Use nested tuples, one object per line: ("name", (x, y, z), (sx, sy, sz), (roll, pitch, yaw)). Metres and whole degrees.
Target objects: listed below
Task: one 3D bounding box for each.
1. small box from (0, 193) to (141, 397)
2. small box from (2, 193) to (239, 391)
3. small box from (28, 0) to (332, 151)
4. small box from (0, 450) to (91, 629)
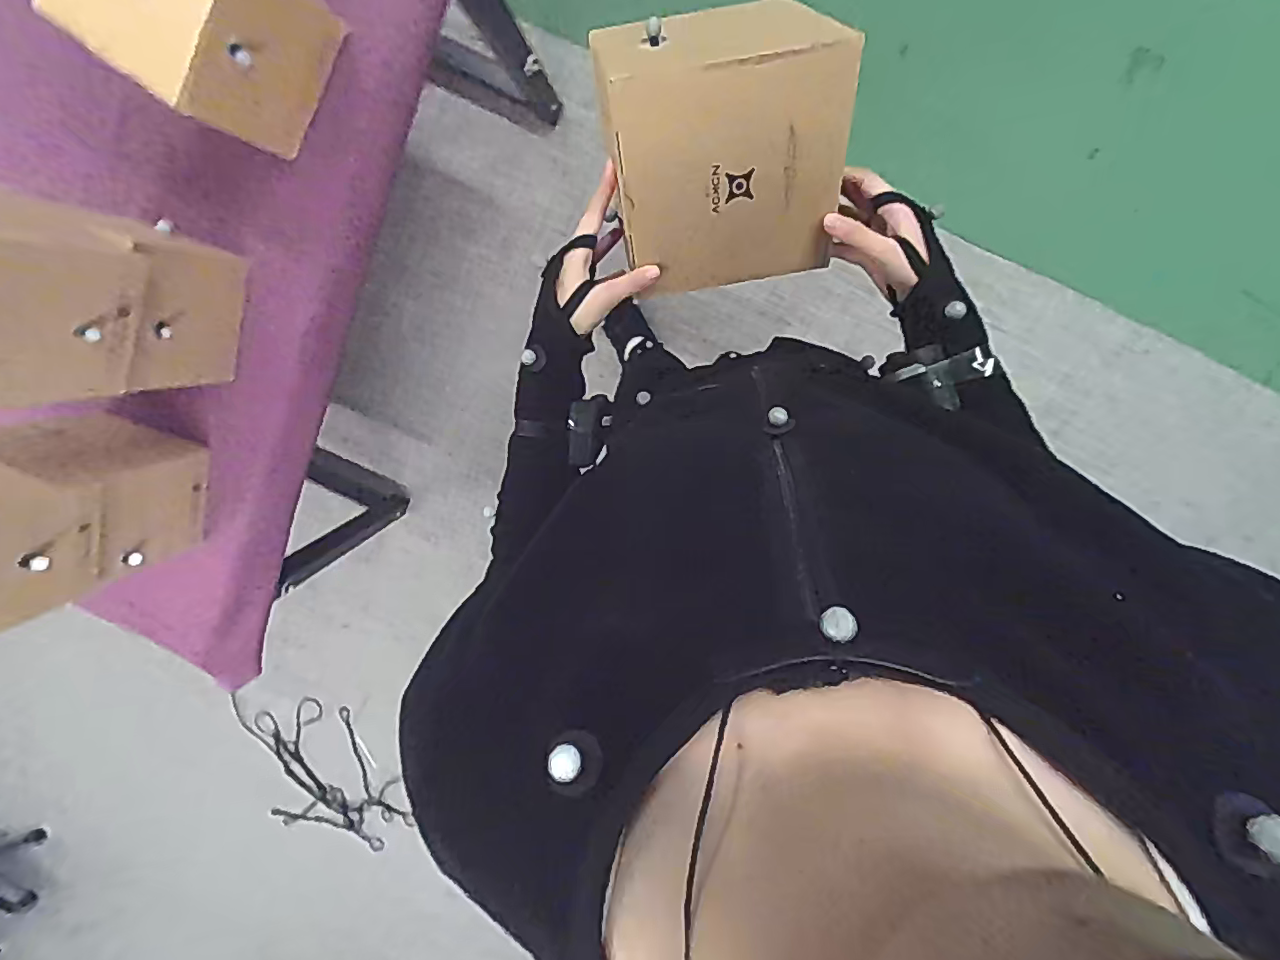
("small box", (-0.655, -0.185, 0.522), (0.179, 0.176, 0.168), (26, 106, -3))
("small box", (-0.650, -0.228, 0.681), (0.168, 0.176, 0.179), (19, 105, -1))
("small box", (-0.478, -0.507, 0.589), (0.168, 0.176, 0.179), (35, 107, -4))
("small box", (-0.775, 0.067, 0.601), (0.179, 0.176, 0.168), (18, 105, -1))
